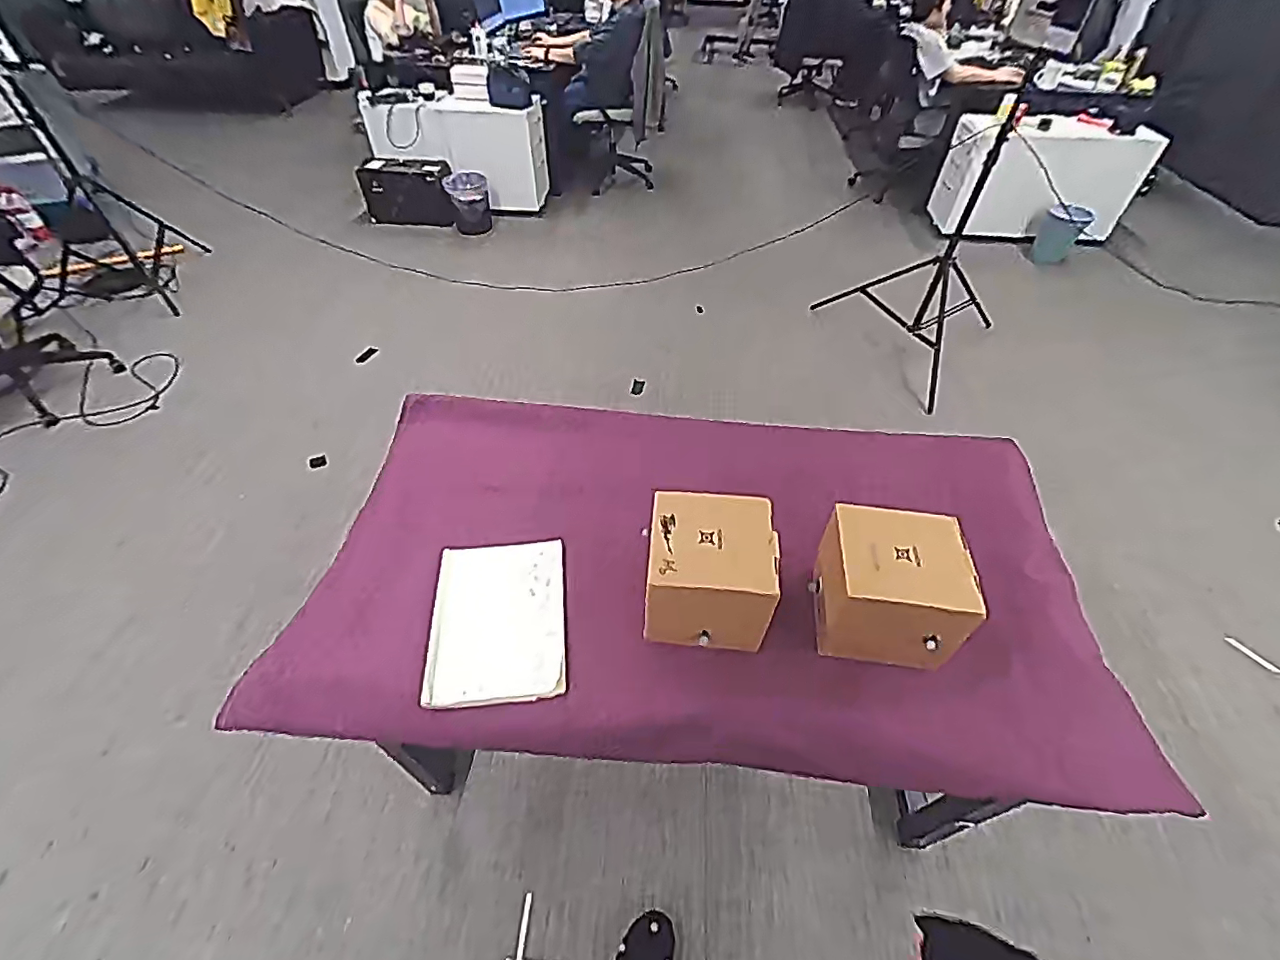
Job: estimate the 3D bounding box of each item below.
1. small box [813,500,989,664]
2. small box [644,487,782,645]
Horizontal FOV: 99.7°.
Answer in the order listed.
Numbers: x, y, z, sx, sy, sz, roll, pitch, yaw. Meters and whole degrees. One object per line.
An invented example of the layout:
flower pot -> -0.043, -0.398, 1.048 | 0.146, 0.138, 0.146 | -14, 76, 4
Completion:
small box -> 0.367, 0.153, 0.799 | 0.179, 0.176, 0.168 | 6, 46, 7
small box -> 0.102, 0.133, 0.812 | 0.179, 0.176, 0.168 | 4, 47, 2
